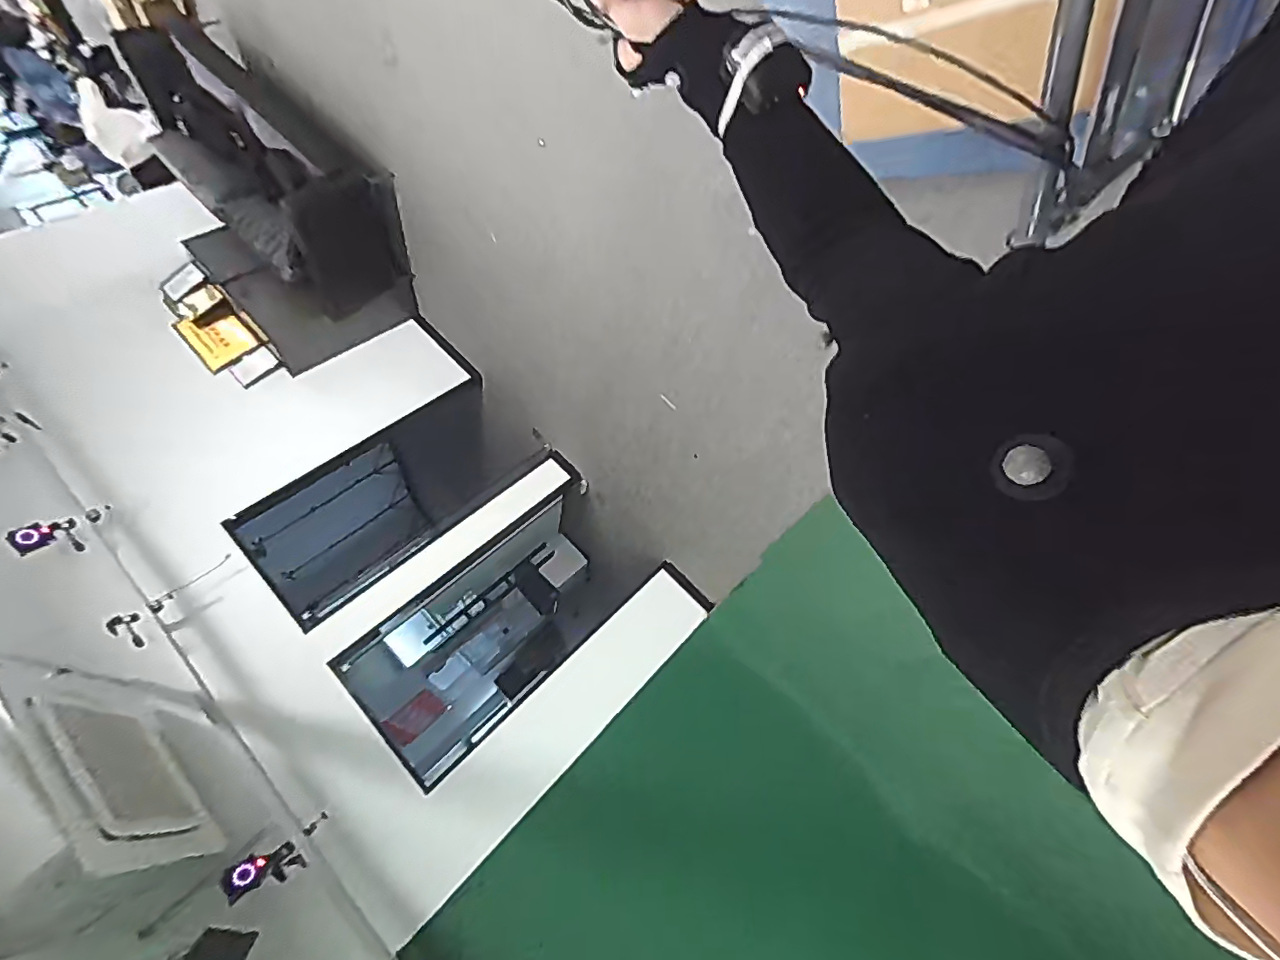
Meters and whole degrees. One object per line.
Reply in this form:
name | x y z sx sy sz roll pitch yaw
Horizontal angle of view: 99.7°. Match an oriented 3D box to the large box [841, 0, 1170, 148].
large box | 0.601 -0.795 0.900 0.408 0.320 0.320 24 142 43
